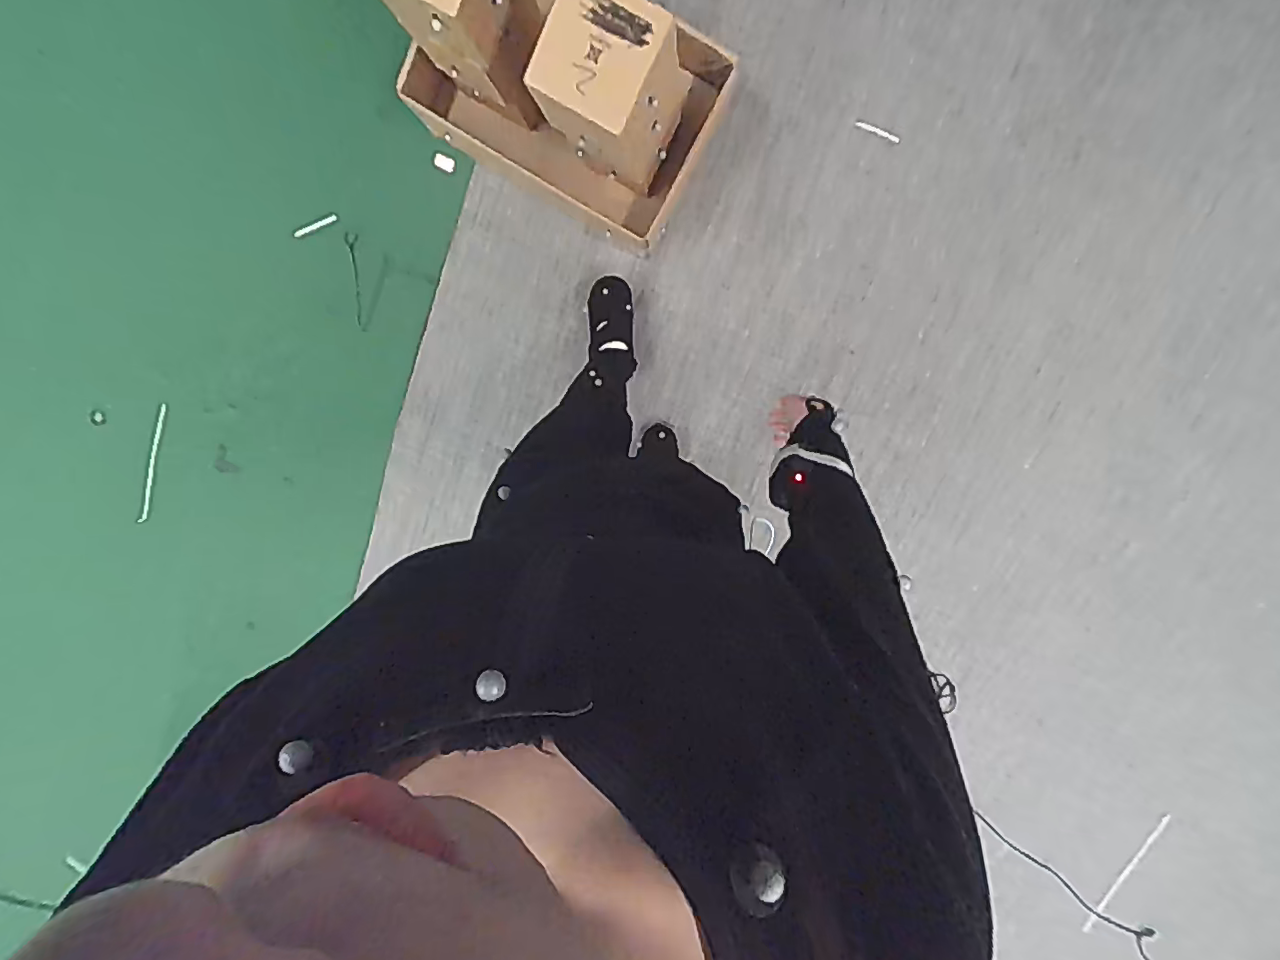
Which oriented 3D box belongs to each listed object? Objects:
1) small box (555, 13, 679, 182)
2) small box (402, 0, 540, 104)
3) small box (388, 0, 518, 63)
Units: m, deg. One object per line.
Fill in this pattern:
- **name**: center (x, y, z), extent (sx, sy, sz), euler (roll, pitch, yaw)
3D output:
- **small box**: center (-0.035, -0.701, 1.019), extent (0.168, 0.176, 0.179), euler (28, 103, -3)
- **small box**: center (-0.300, -0.853, 1.001), extent (0.168, 0.176, 0.179), euler (29, 105, -4)
- **small box**: center (-0.299, -0.802, 0.844), extent (0.179, 0.176, 0.168), euler (28, 104, -4)
